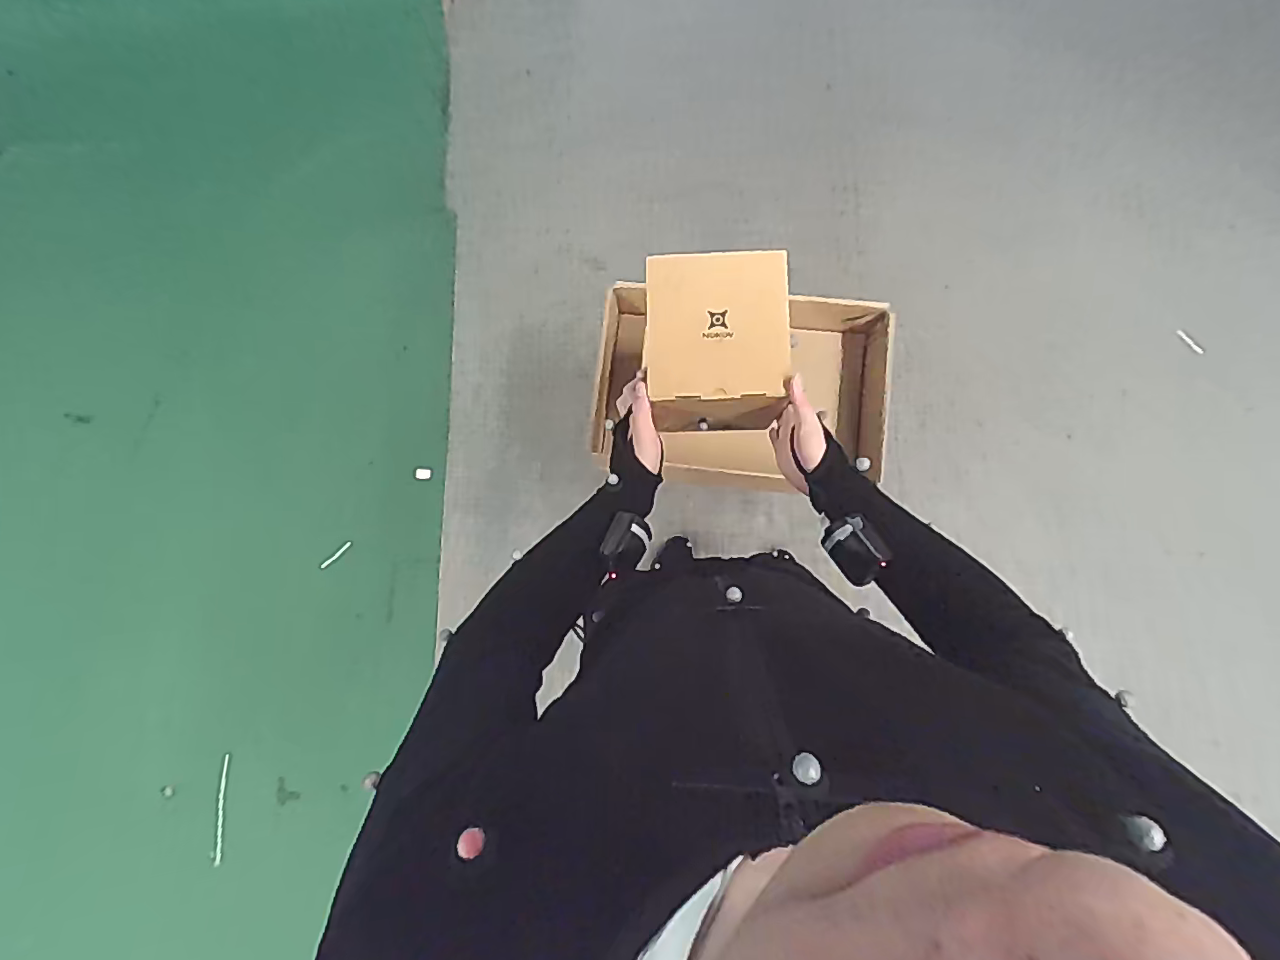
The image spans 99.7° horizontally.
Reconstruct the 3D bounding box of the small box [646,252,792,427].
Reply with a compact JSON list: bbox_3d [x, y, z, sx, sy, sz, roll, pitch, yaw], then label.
[{"bbox_3d":[0.091,-0.171,0.701,0.168,0.176,0.179,-1,86,1],"label":"small box"}]
